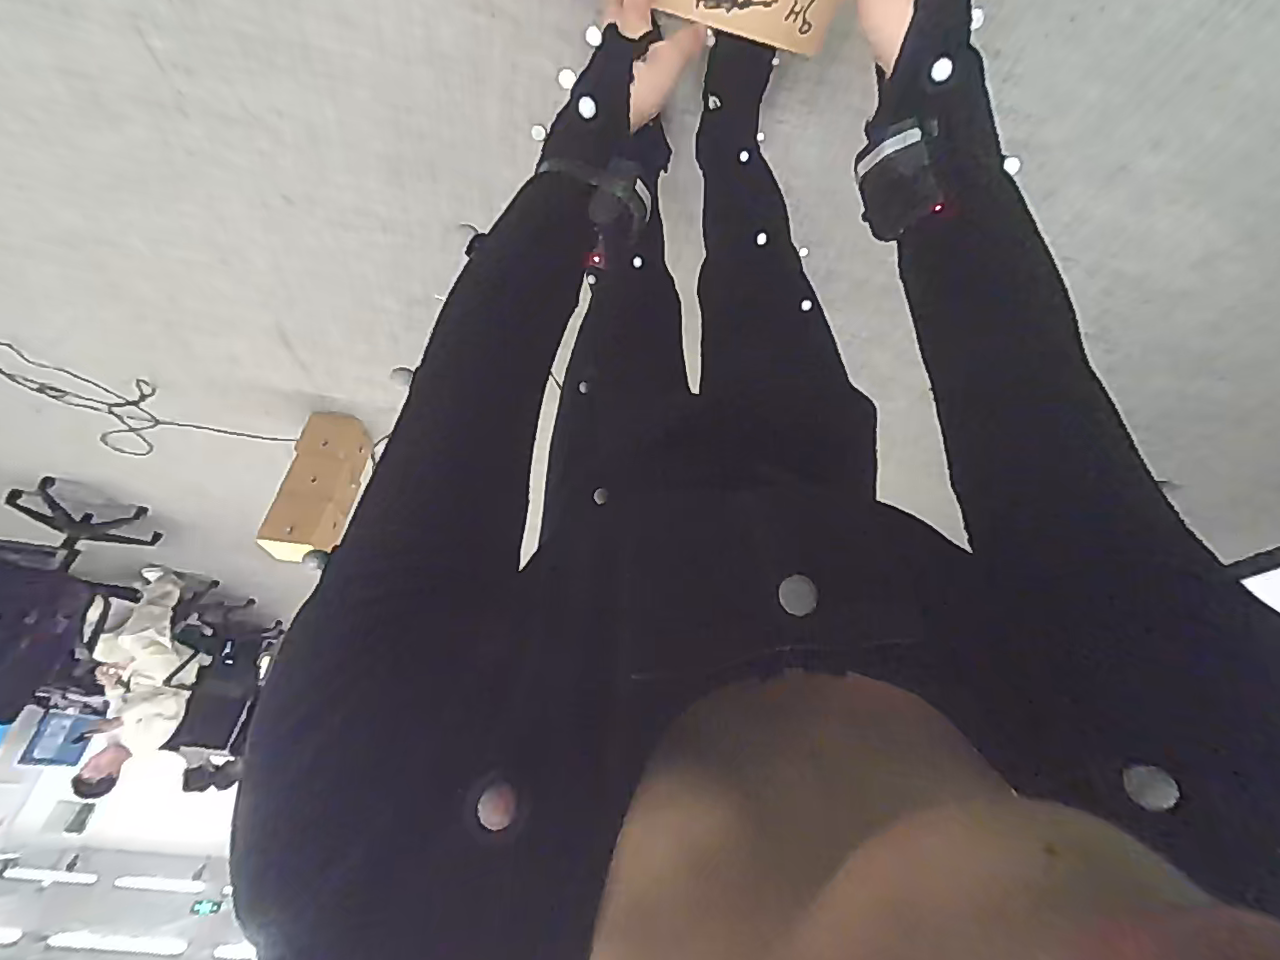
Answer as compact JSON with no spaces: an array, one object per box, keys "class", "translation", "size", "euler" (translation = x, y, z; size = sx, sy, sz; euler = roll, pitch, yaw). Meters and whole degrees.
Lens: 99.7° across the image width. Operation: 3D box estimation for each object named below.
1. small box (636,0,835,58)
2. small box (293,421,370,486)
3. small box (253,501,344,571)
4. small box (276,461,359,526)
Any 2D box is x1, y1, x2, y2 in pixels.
[{"class":"small box","translation":[0.095,-0.496,0.436],"size":[0.168,0.176,0.179],"euler":[11,147,-8]},{"class":"small box","translation":[-1.107,-0.098,1.963],"size":[0.179,0.176,0.168],"euler":[6,147,0]},{"class":"small box","translation":[-1.127,0.184,1.799],"size":[0.179,0.176,0.168],"euler":[6,148,-3]},{"class":"small box","translation":[-1.119,0.050,1.891],"size":[0.179,0.176,0.168],"euler":[7,148,-4]}]
